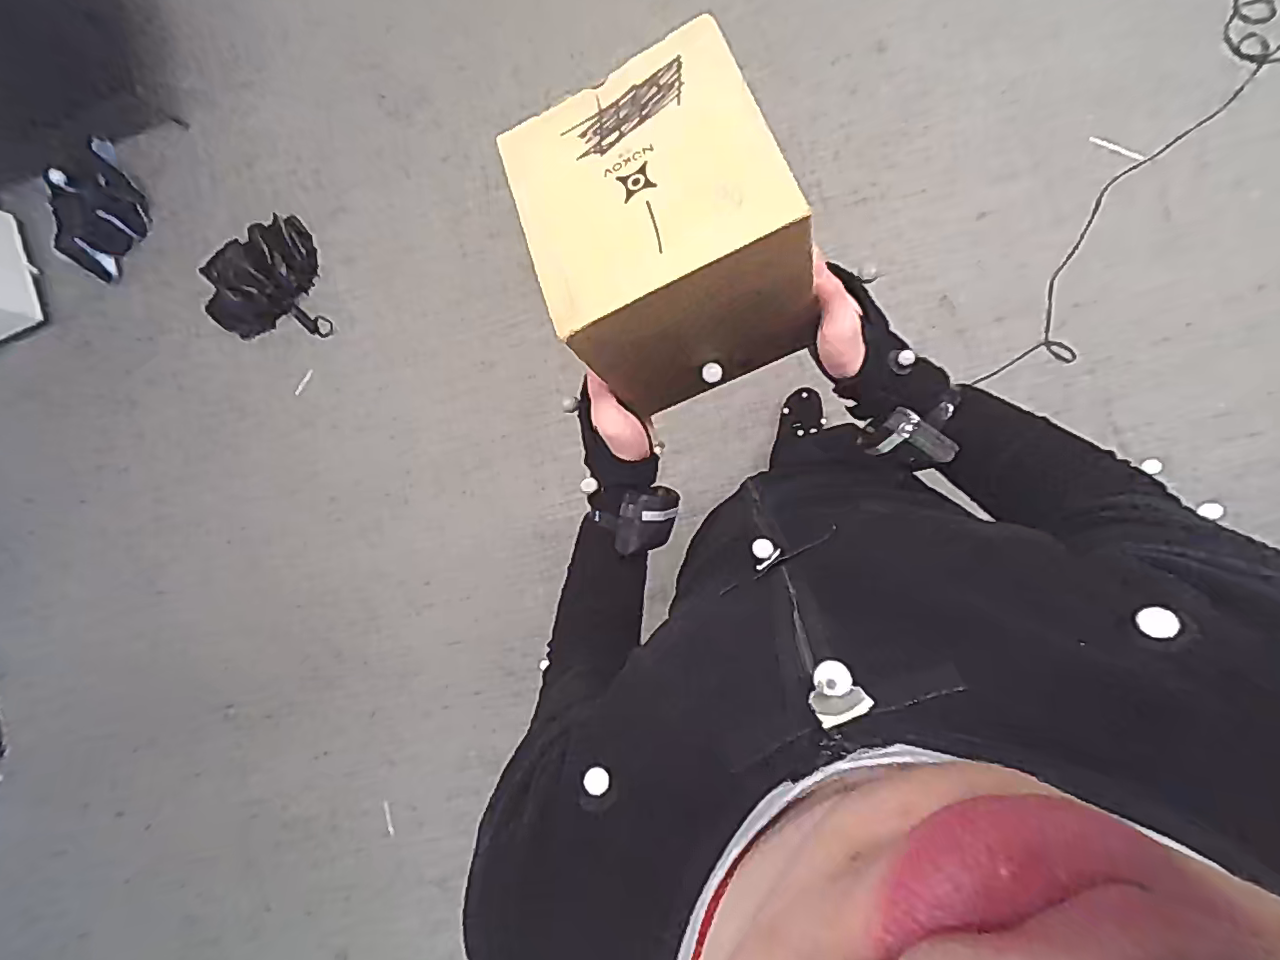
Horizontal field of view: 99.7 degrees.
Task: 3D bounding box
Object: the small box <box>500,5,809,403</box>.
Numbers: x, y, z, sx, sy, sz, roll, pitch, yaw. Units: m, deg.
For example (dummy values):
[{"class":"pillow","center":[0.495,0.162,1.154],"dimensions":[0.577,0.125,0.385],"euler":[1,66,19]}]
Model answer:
[{"class":"small box","center":[0.021,-0.186,0.417],"dimensions":[0.168,0.176,0.179],"euler":[-21,73,14]}]
